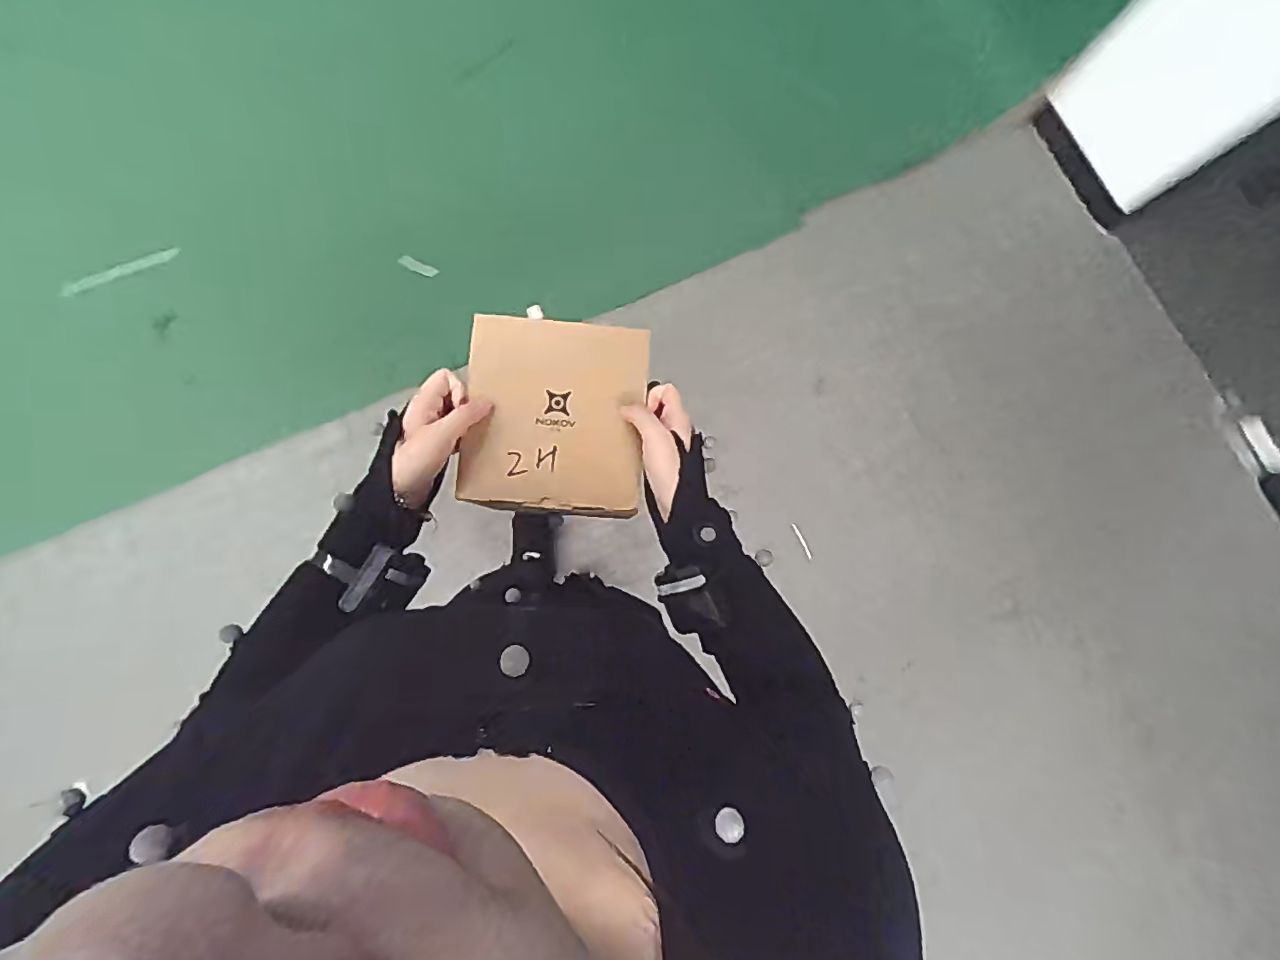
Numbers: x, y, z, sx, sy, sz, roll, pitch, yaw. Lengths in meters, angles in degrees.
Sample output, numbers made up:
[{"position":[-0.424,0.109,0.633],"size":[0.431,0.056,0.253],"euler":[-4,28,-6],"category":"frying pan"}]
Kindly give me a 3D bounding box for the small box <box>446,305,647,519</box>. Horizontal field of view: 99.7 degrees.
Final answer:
[{"position":[-0.088,-0.056,0.561],"size":[0.168,0.176,0.179],"euler":[4,83,-4],"category":"small box"}]
